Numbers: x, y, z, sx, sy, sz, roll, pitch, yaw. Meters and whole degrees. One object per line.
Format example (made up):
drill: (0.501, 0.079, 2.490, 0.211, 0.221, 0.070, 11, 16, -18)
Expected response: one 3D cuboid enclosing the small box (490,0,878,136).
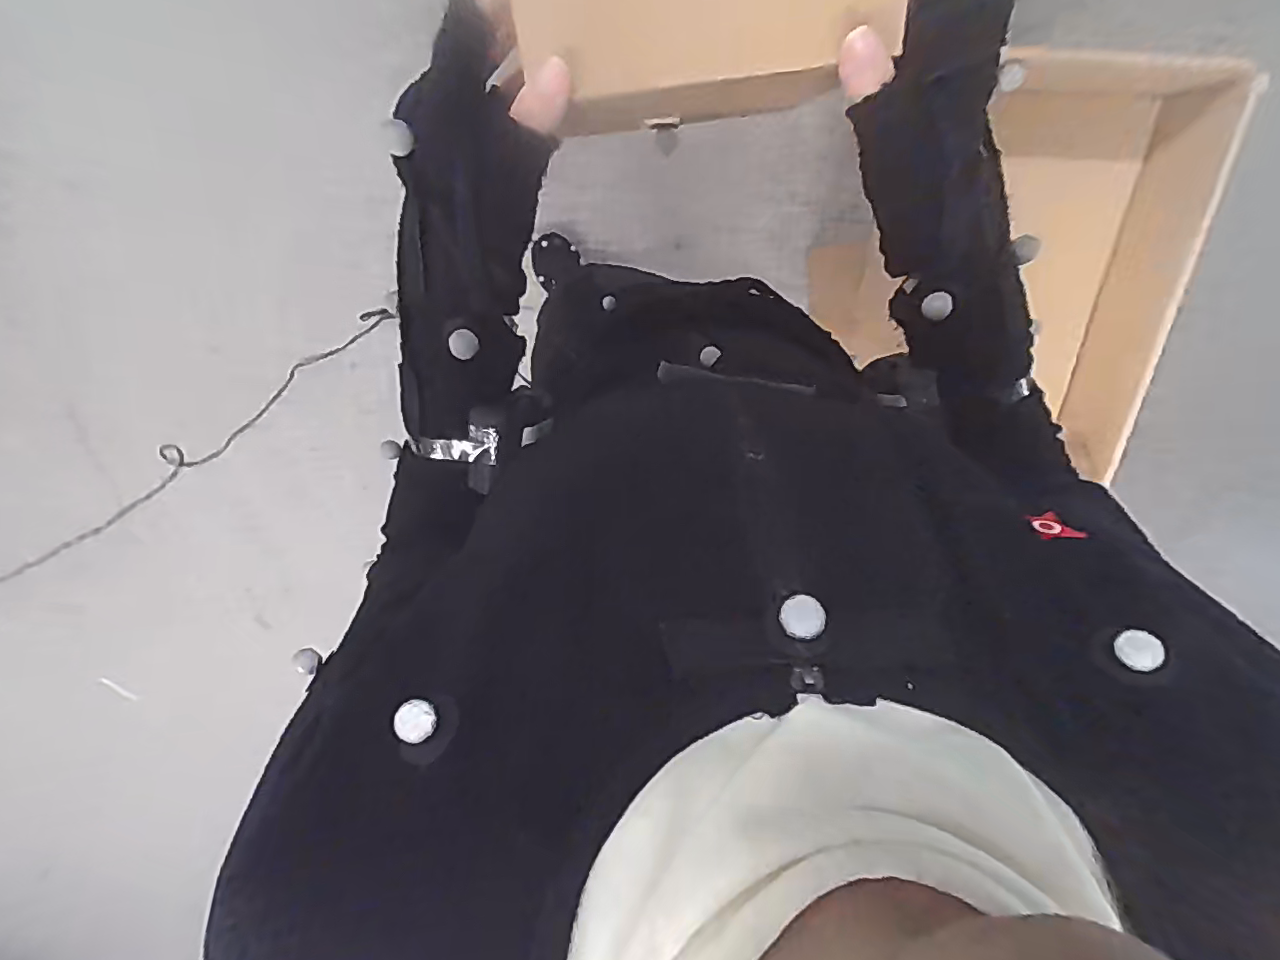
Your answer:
small box: (0.009, -0.291, 0.270, 0.168, 0.176, 0.179, -7, 118, 1)
